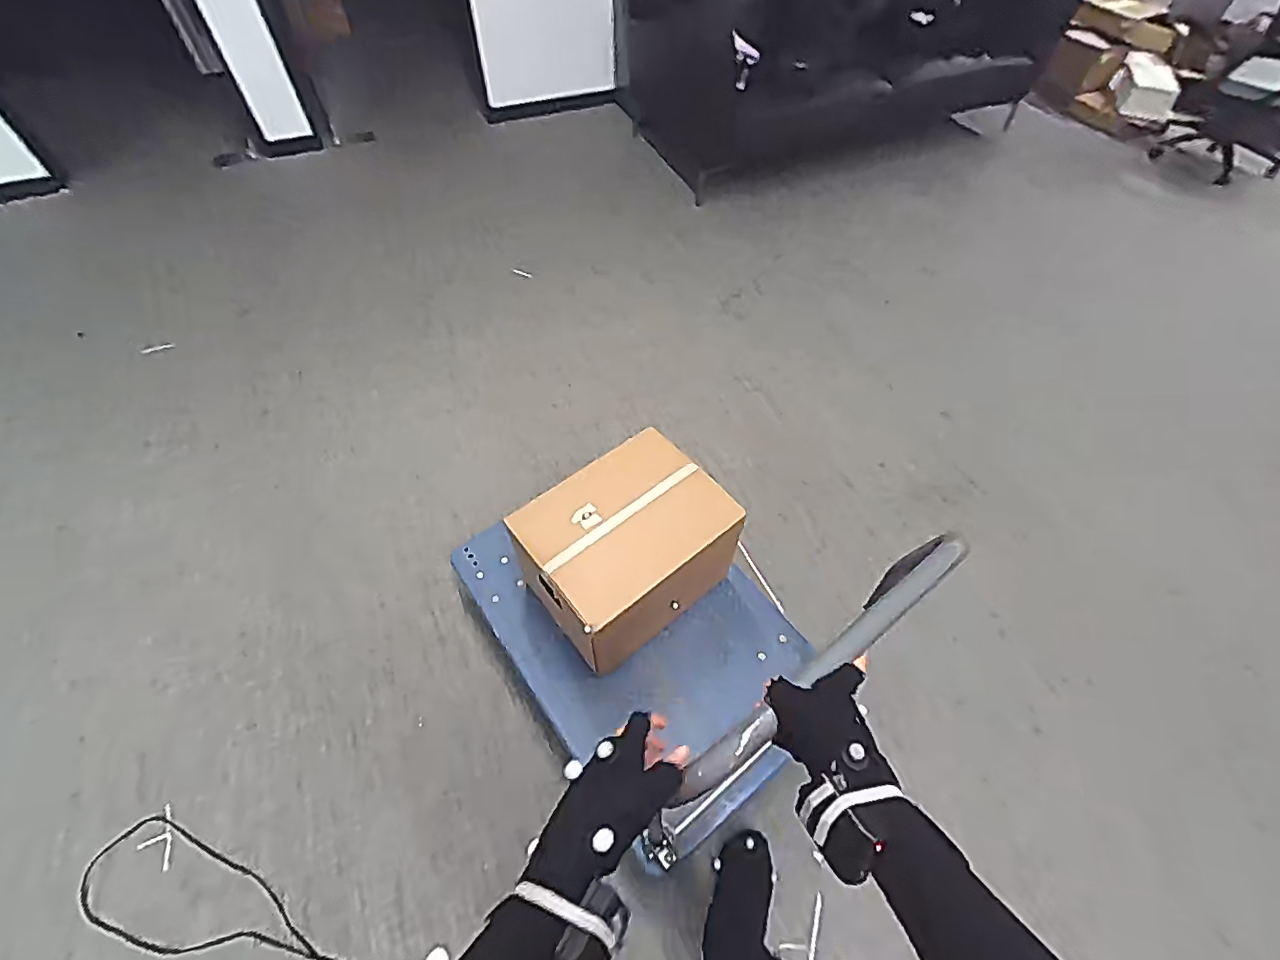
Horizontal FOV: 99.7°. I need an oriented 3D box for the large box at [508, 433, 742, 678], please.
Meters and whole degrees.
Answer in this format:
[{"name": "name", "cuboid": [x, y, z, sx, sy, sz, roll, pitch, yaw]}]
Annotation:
[{"name": "large box", "cuboid": [-0.028, 0.173, 1.243, 0.408, 0.320, 0.320, -35, 61, -21]}]
